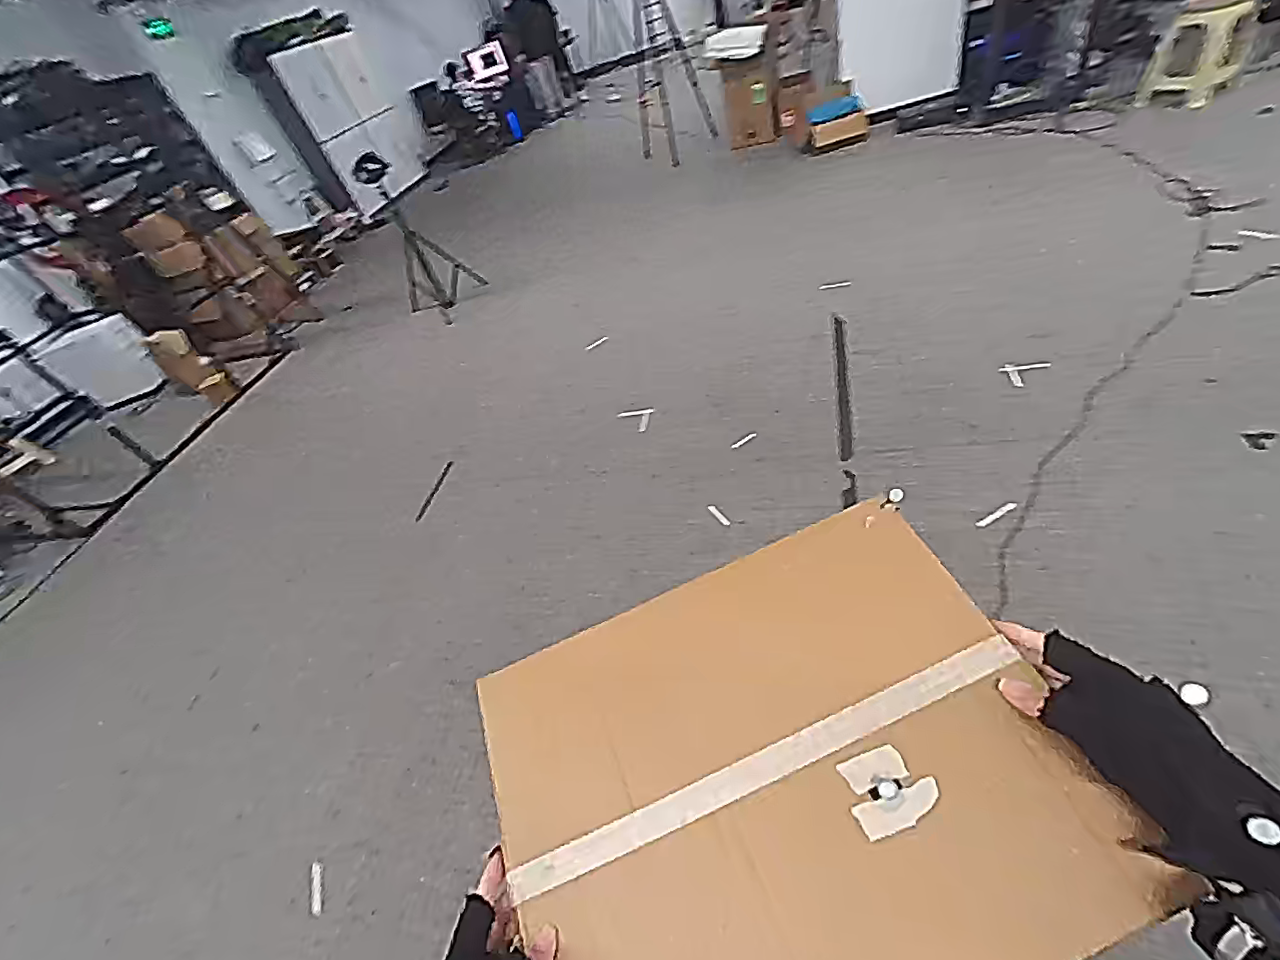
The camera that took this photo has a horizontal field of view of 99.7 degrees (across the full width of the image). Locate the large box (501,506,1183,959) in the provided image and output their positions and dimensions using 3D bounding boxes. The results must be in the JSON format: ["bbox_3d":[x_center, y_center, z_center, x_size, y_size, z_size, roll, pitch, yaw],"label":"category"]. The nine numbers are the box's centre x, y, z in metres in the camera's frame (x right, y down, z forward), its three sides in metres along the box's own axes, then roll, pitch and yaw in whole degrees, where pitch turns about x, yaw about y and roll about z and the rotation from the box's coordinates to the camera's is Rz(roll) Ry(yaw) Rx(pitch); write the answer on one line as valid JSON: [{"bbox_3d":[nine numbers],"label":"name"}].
[{"bbox_3d":[0.135,0.298,0.530,0.408,0.320,0.320,-24,54,-1],"label":"large box"}]
